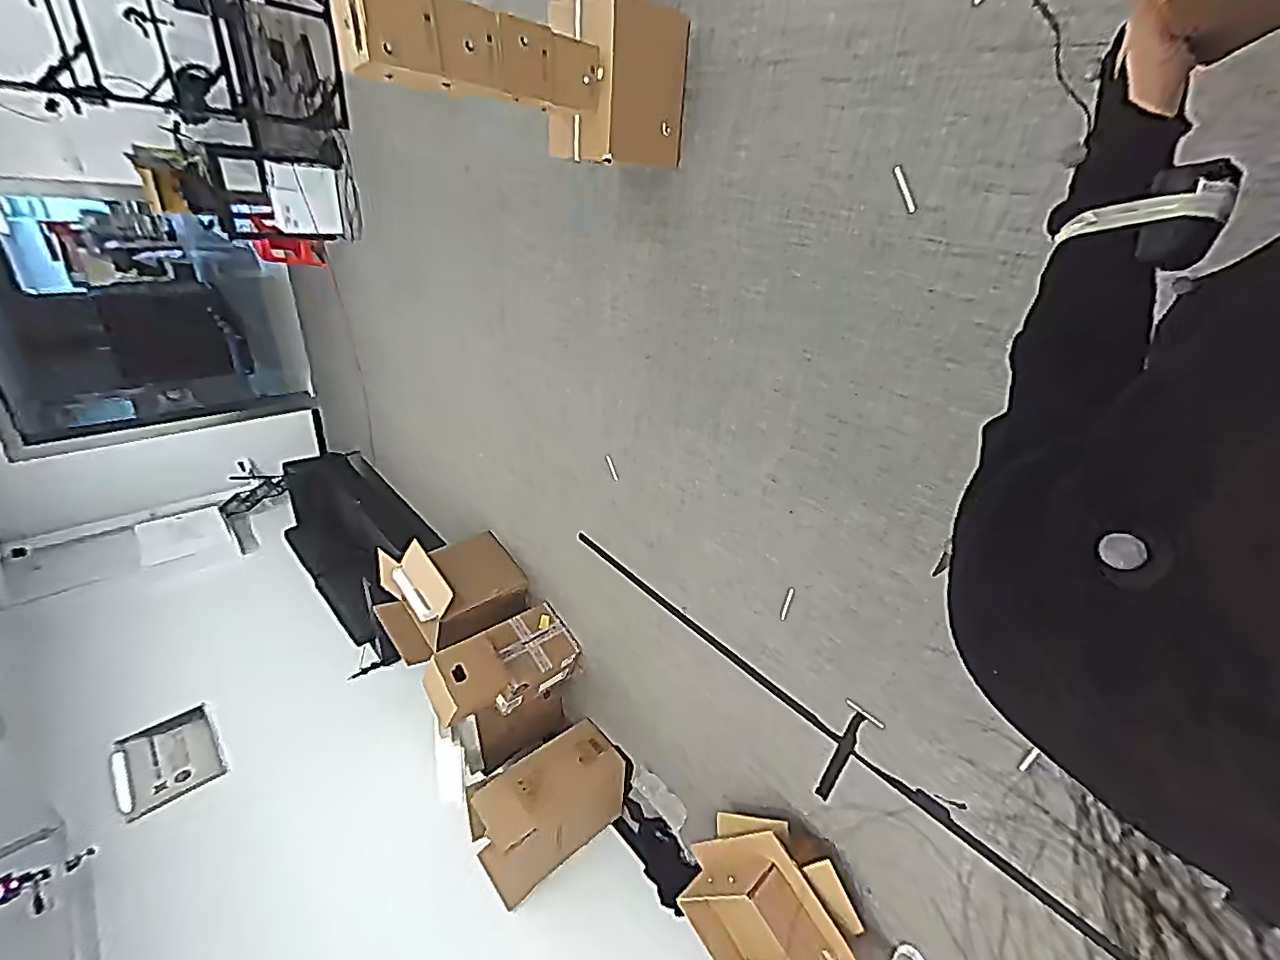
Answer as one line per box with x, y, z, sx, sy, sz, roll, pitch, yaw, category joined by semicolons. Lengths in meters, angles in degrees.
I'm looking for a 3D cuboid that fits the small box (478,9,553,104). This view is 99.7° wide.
-0.347;-1.127;1.451;0.179;0.176;0.168;28;125;40;small box

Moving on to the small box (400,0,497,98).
-0.469;-1.078;1.351;0.179;0.176;0.168;23;121;41;small box

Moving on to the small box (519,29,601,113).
-0.234;-1.170;1.559;0.179;0.176;0.168;28;126;38;small box

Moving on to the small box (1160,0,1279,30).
0.364;-0.376;0.271;0.168;0.176;0.179;-14;93;54;small box
